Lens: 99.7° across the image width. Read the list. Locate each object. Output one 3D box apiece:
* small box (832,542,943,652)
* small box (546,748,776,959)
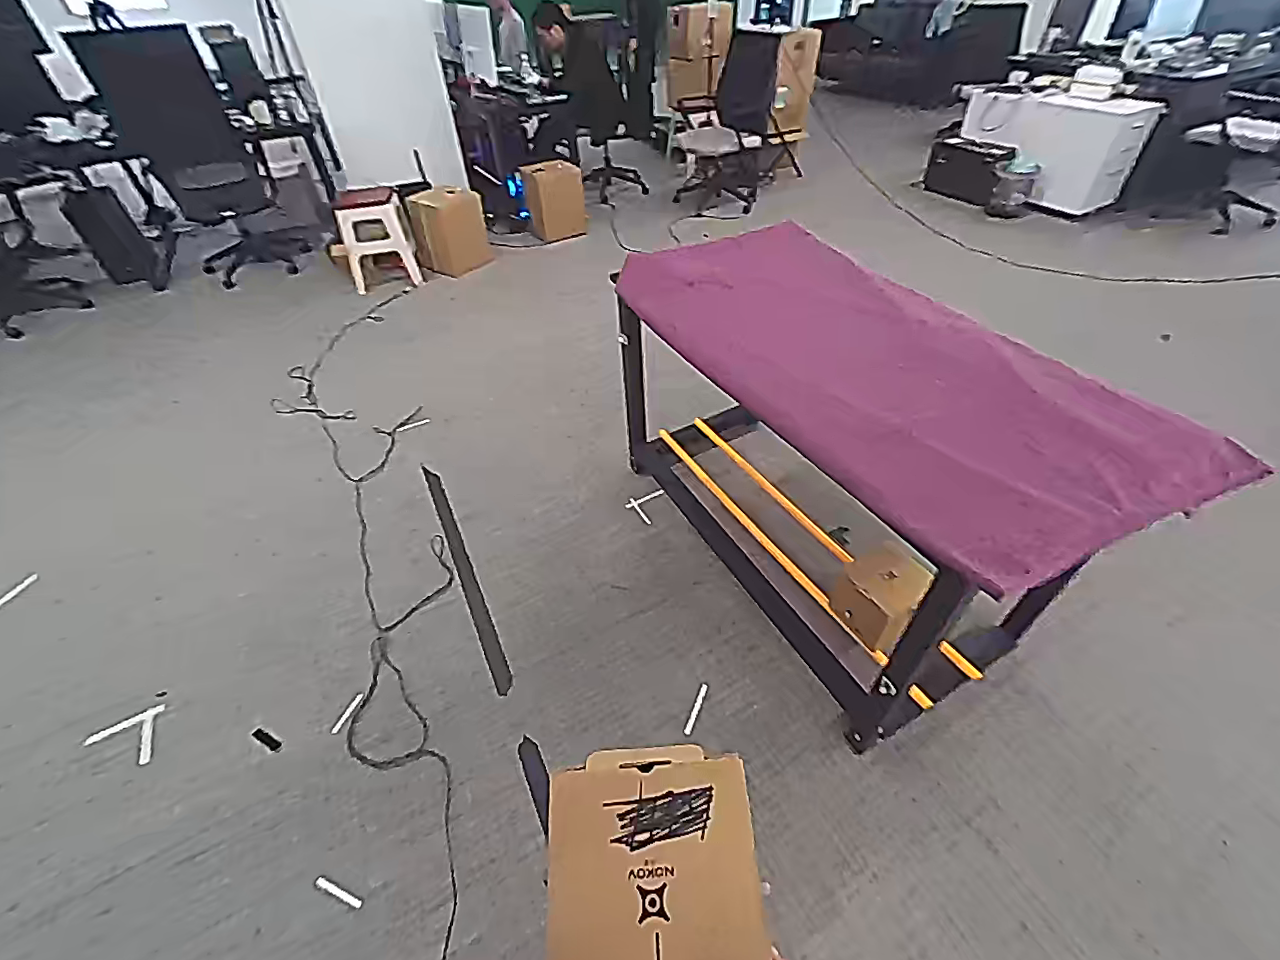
[{"bbox_3d":[0.610,0.294,1.357,0.179,0.176,0.168,-24,46,-18],"label":"small box"},{"bbox_3d":[0.016,0.352,0.473,0.168,0.176,0.179,-6,54,0],"label":"small box"}]
